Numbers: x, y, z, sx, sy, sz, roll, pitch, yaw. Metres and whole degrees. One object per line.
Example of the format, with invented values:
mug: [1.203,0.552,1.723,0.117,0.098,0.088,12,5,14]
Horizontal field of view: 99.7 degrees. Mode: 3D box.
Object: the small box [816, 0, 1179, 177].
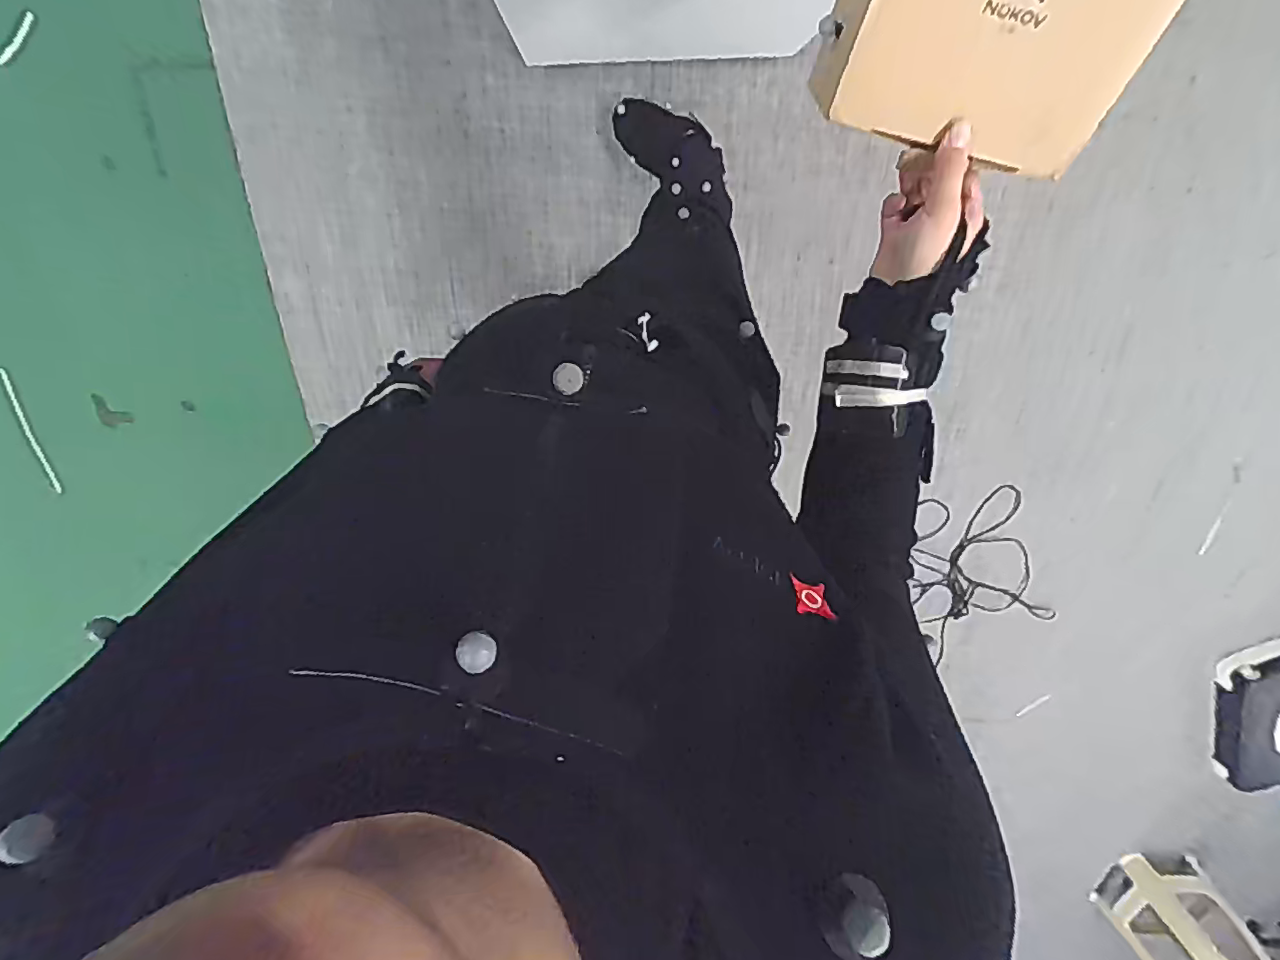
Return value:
small box: [0.228,-0.334,0.356,0.168,0.176,0.179,13,133,-2]
